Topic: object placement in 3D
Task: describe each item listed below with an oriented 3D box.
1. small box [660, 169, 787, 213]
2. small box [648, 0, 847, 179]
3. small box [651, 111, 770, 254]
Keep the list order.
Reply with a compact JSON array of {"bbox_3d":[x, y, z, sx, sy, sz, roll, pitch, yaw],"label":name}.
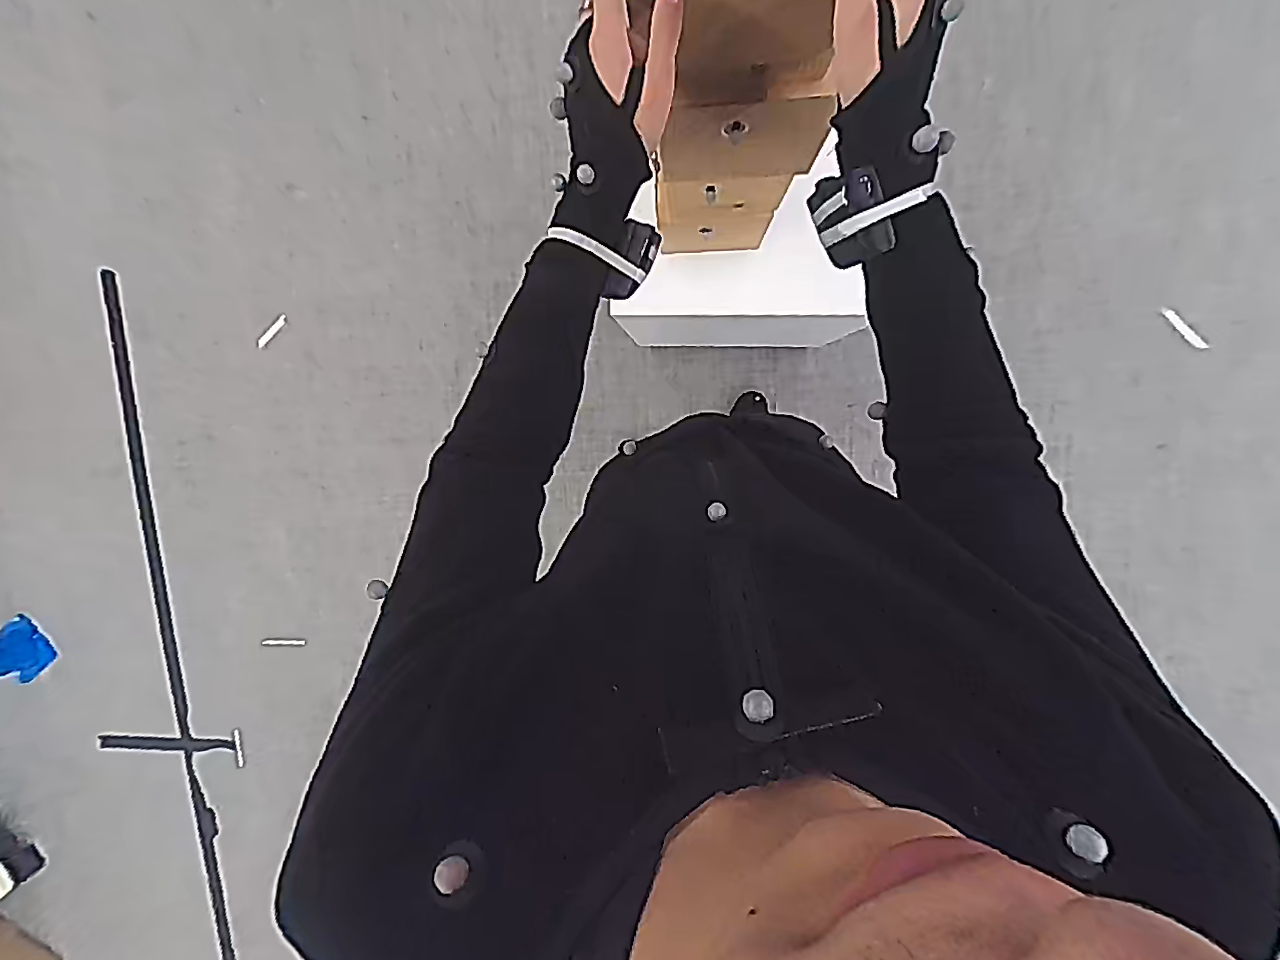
[{"bbox_3d":[0.111,-0.469,0.717,0.168,0.176,0.179,0,97,4],"label":"small box"},{"bbox_3d":[0.101,-0.430,0.556,0.179,0.176,0.168,-1,98,4],"label":"small box"},{"bbox_3d":[0.111,-0.477,0.879,0.179,0.176,0.168,-2,98,4],"label":"small box"}]
